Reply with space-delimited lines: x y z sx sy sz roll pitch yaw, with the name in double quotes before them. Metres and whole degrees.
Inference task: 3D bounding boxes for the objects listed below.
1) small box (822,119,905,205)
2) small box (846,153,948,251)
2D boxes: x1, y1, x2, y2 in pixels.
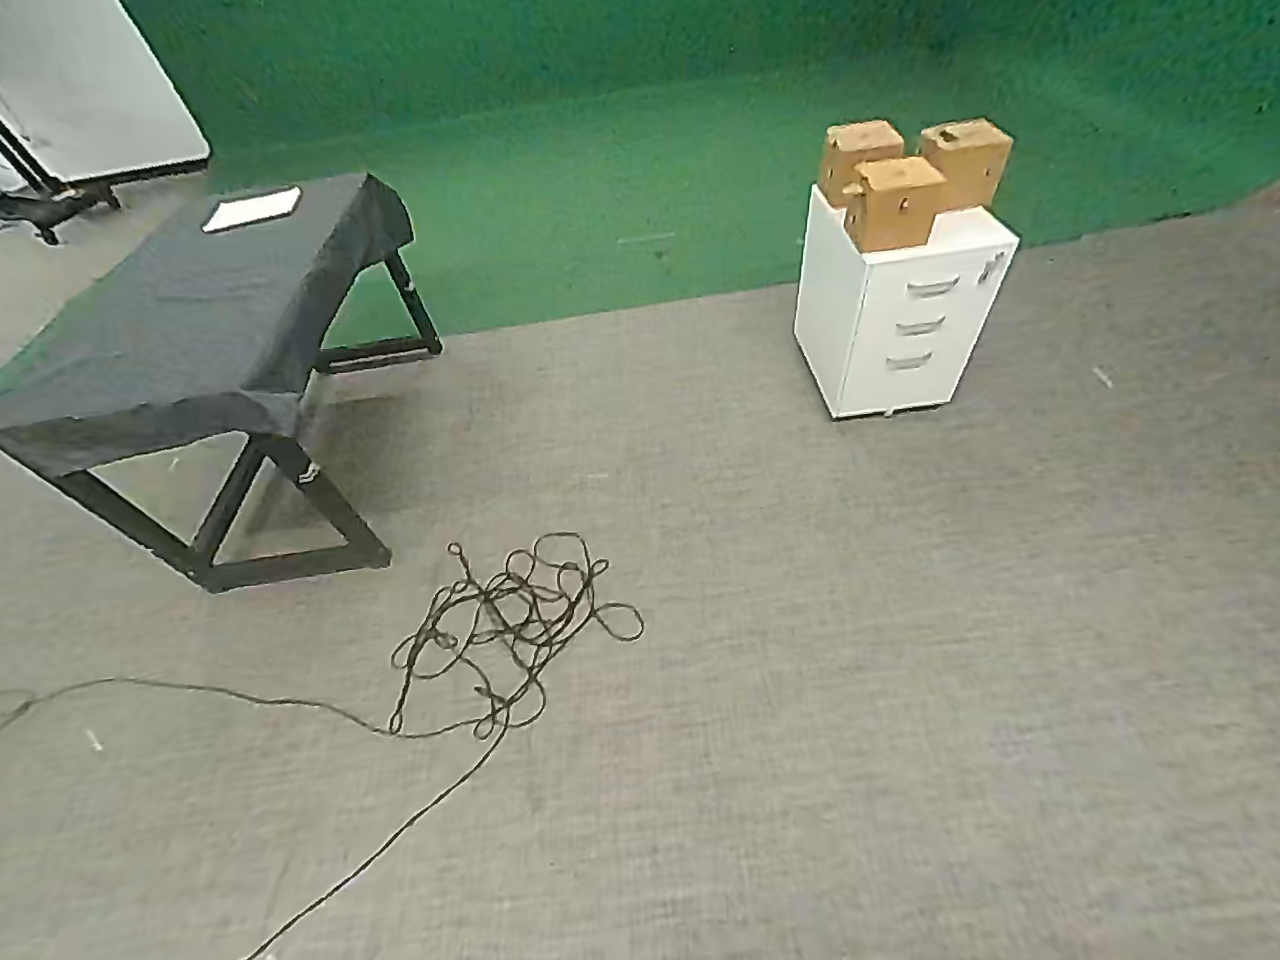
"small box" 0.649 -0.936 1.600 0.179 0.176 0.168 -6 51 2
"small box" 0.665 -0.727 1.420 0.179 0.176 0.168 -7 49 3
